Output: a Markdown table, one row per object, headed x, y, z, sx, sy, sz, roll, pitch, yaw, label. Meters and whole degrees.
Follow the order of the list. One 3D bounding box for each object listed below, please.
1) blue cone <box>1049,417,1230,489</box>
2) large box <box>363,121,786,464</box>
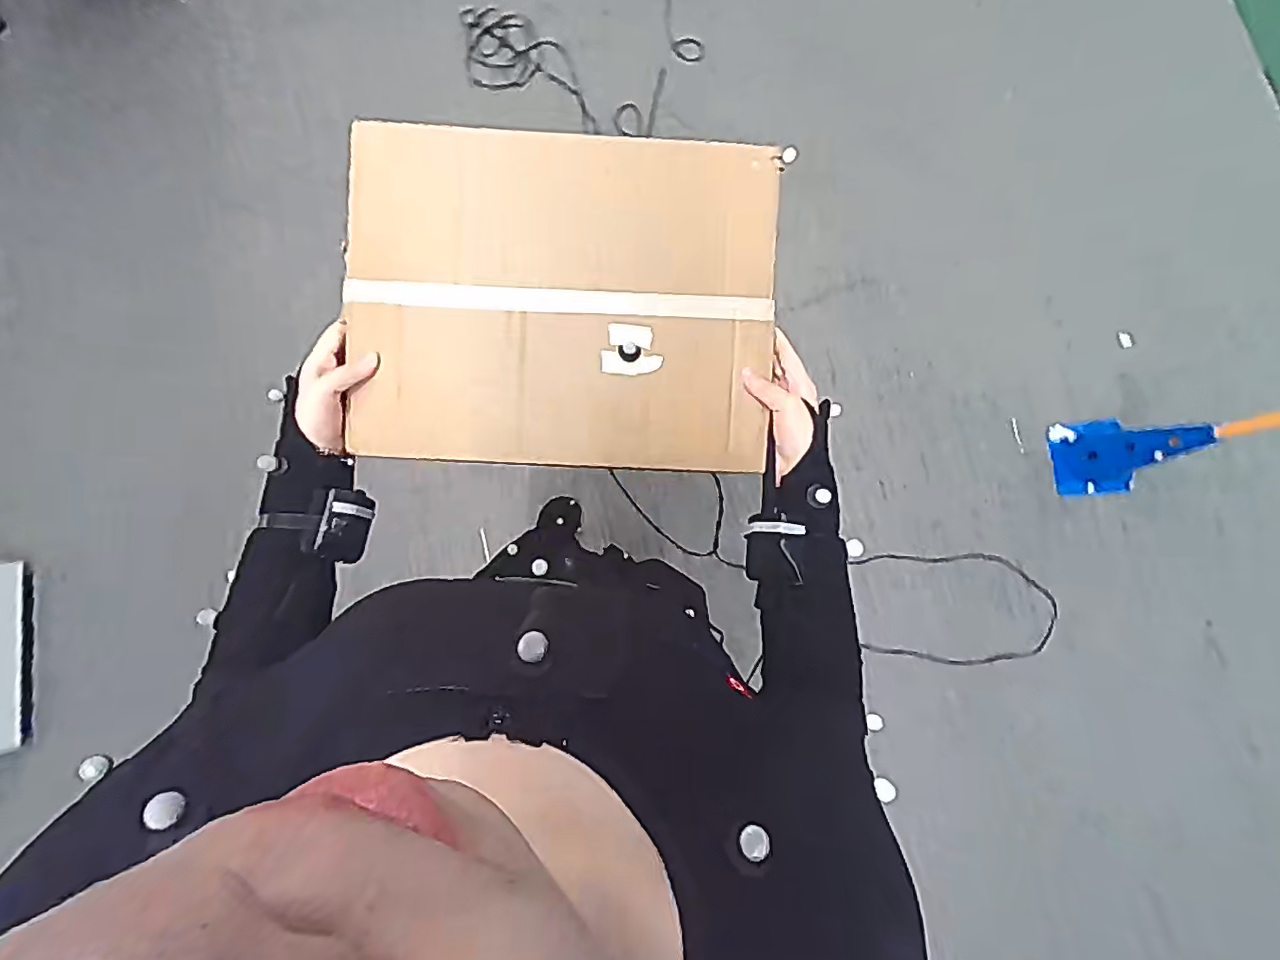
| x | y | z | sx | sy | sz | roll | pitch | yaw | label |
| --- | --- | --- | --- | --- | --- | --- | --- | --- | --- |
| 1.221 | -0.092 | 1.321 | 0.192 | 0.380 | 0.193 | -5 | 83 | 2 | blue cone |
| -0.070 | -0.183 | 0.671 | 0.408 | 0.320 | 0.320 | 4 | 92 | -3 | large box |
